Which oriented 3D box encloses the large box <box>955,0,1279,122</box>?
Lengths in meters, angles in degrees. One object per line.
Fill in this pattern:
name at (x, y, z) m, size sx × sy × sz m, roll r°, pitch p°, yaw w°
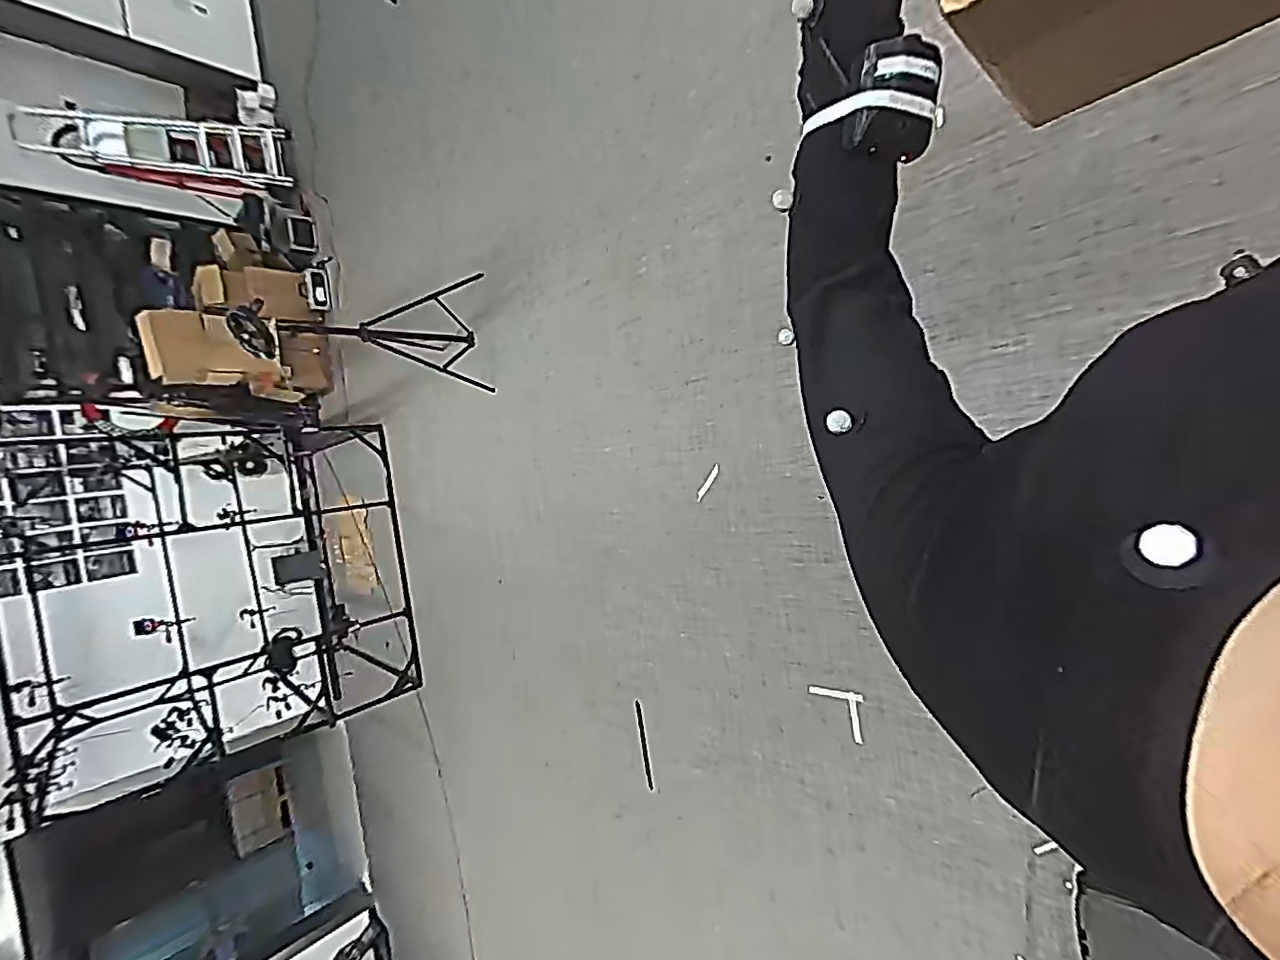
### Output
large box at (0.419, -0.516, 0.322) m, size 0.408 × 0.320 × 0.320 m, roll -9°, pitch 96°, yaw 46°
